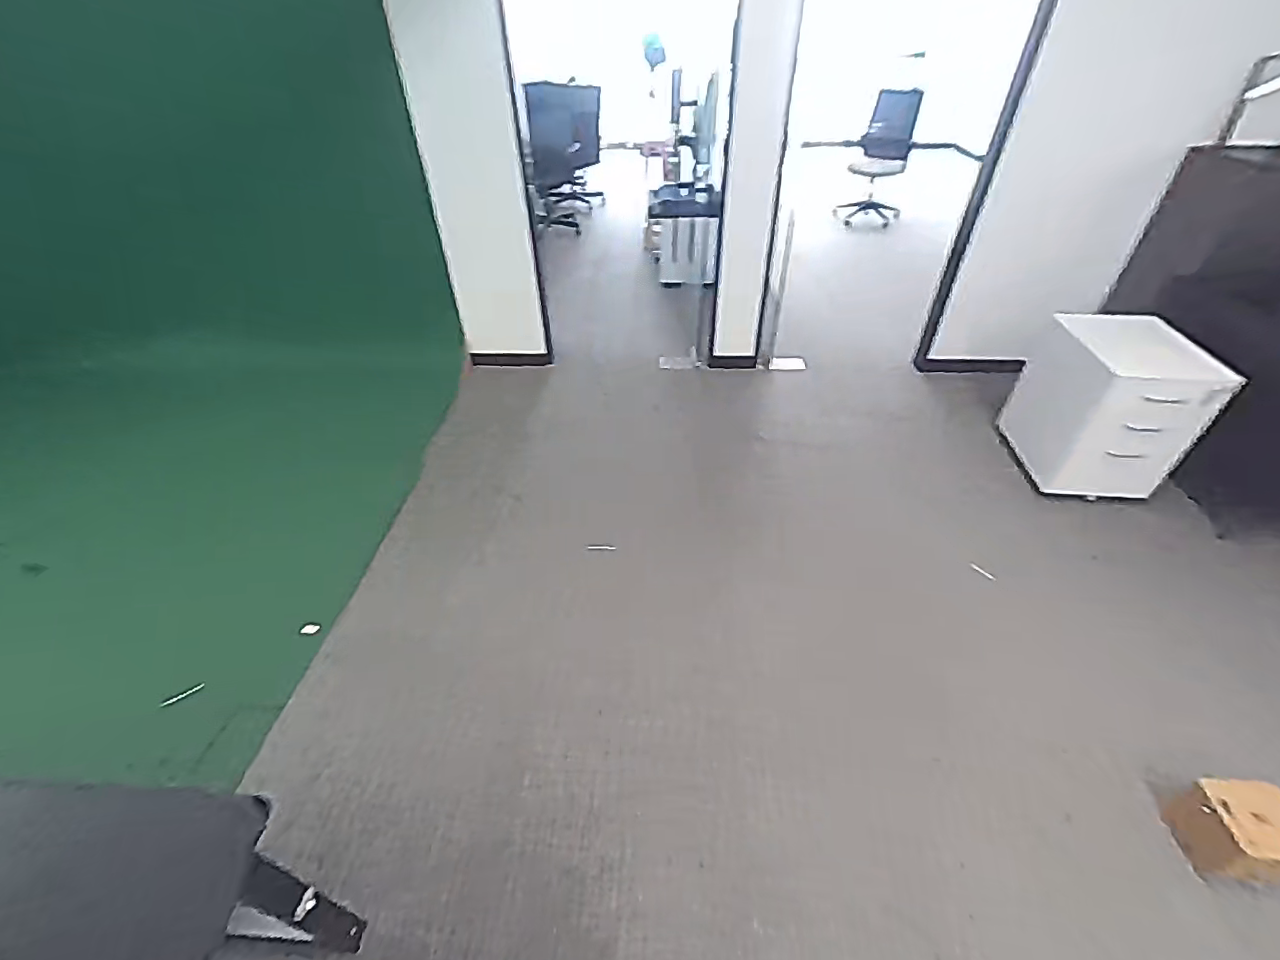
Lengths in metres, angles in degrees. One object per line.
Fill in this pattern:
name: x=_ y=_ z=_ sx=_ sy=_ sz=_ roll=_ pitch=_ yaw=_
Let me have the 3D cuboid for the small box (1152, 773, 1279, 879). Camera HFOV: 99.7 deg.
small box: x=1.409 y=0.831 z=1.295 sx=0.179 sy=0.176 sz=0.168 roll=3 pitch=40 yaw=4
